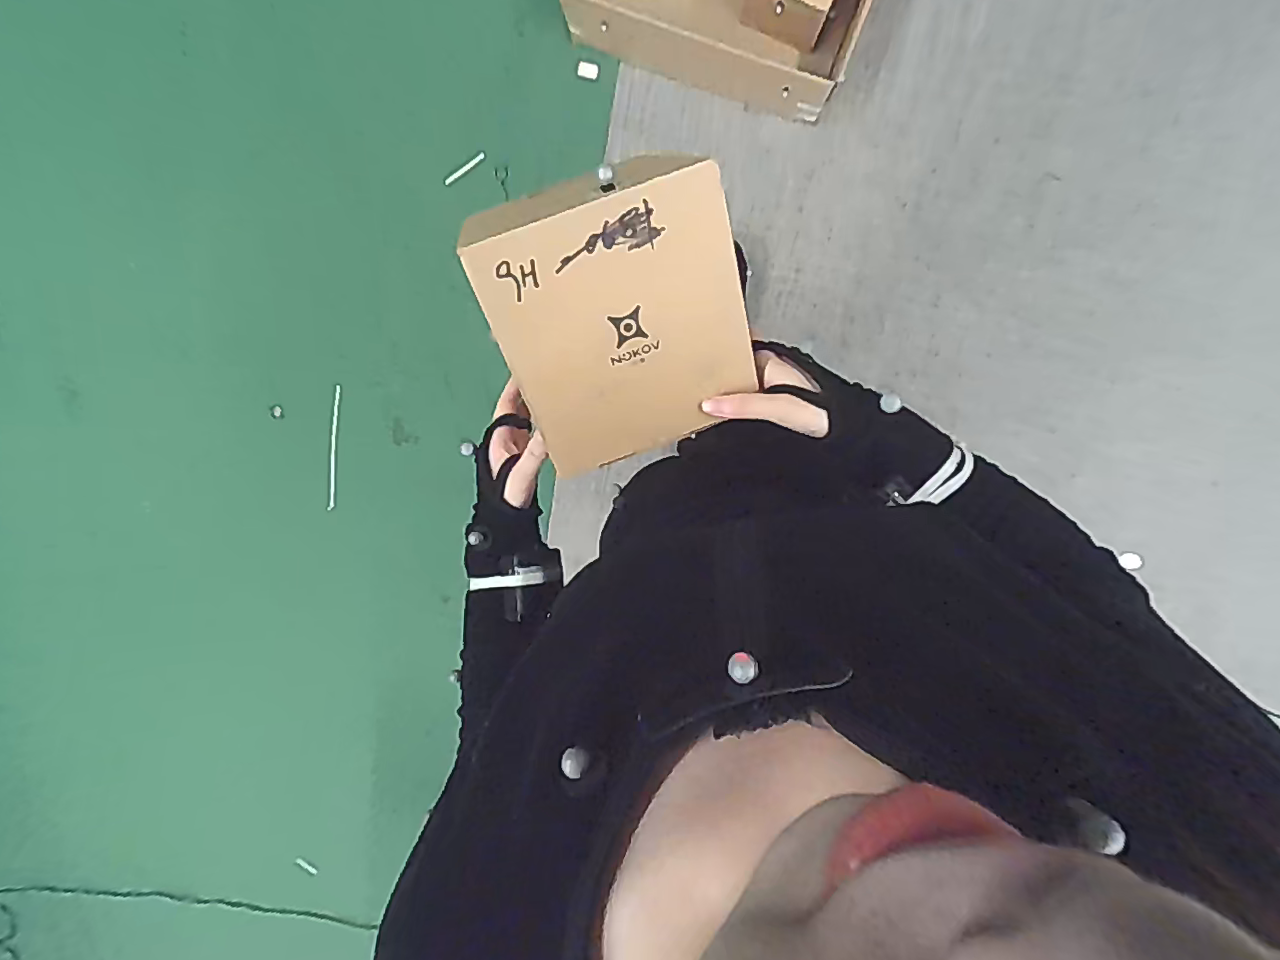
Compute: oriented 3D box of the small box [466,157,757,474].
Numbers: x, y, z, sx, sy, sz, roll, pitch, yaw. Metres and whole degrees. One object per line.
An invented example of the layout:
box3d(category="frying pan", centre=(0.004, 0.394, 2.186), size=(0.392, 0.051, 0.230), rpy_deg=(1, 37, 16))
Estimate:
box3d(category="small box", centre=(-0.024, -0.139, 0.435), size=(0.168, 0.176, 0.179), rpy_deg=(-21, 125, -4))
